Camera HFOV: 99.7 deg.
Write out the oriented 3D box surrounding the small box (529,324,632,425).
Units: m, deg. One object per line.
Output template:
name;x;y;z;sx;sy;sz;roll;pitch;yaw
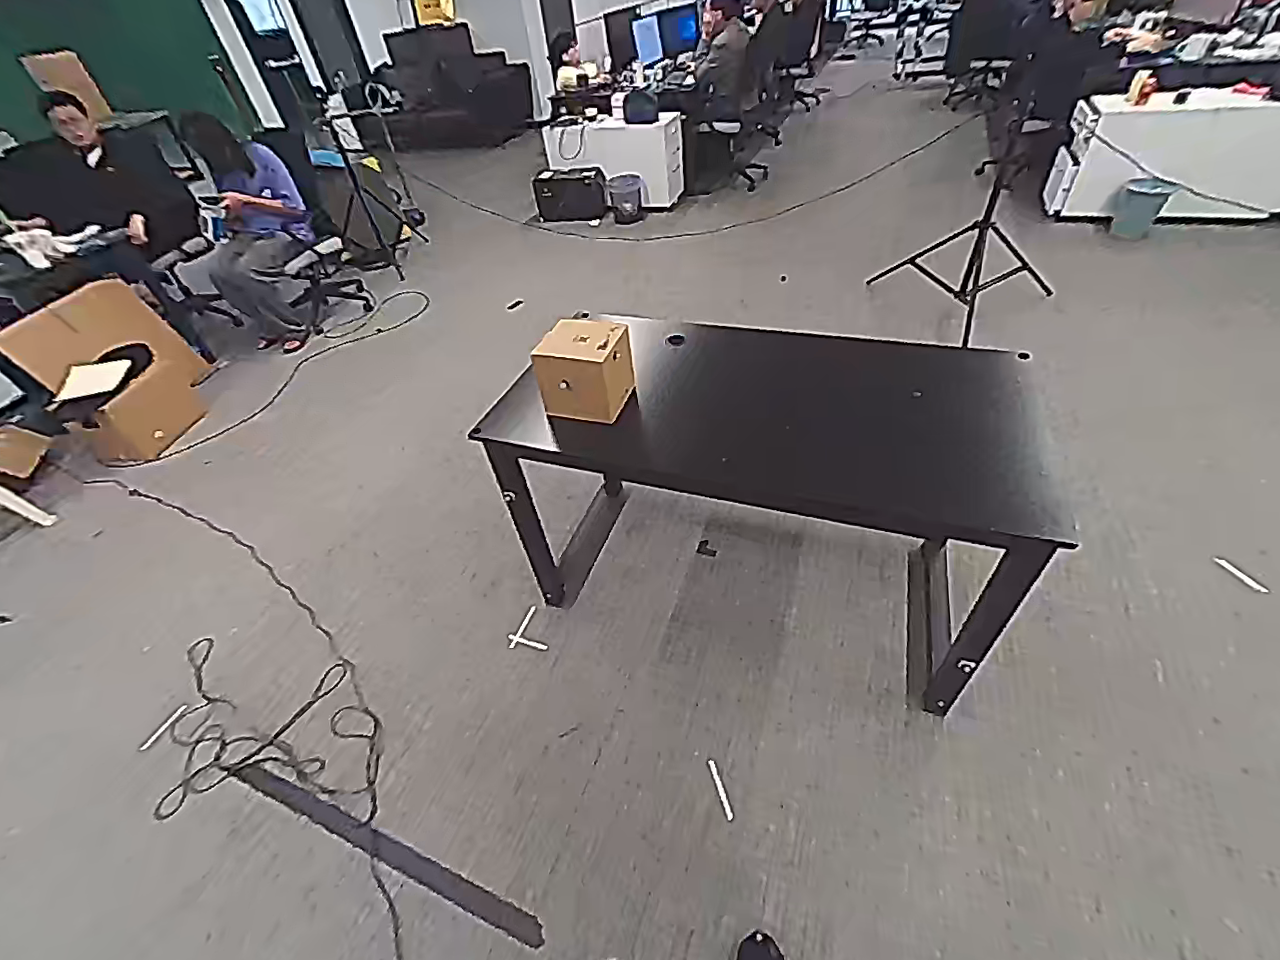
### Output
small box;-0.131;-0.246;1.266;0.179;0.176;0.168;9;46;18
